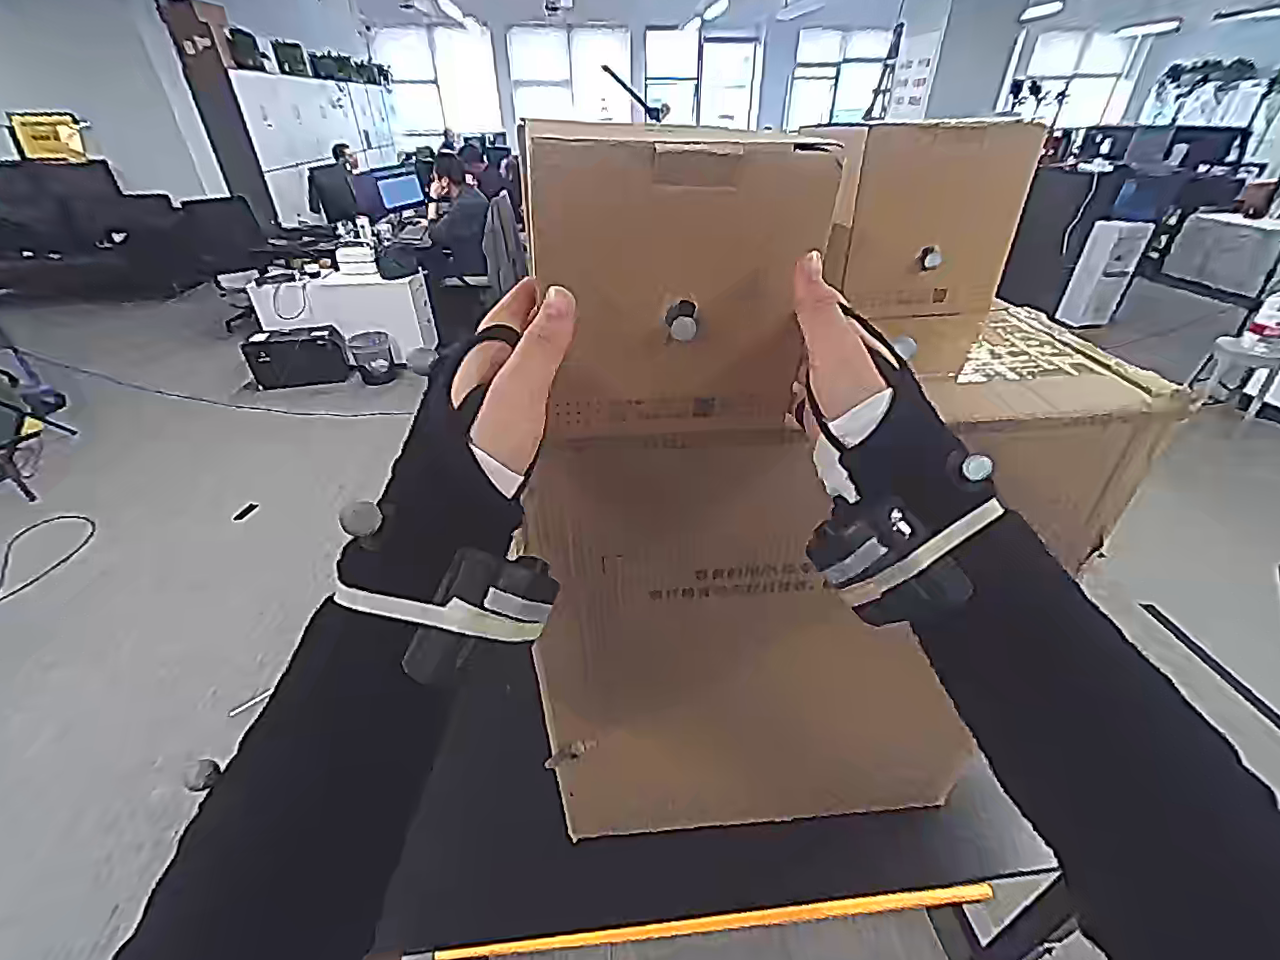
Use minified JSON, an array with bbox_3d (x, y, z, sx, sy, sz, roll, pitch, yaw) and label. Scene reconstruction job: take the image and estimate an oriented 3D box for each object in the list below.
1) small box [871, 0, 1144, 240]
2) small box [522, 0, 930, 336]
[{"bbox_3d":[0.280,-0.324,0.498,0.168,0.176,0.179,-5,33,-5],"label":"small box"},{"bbox_3d":[0.025,-0.187,0.299,0.168,0.176,0.179,-4,37,-10],"label":"small box"}]
